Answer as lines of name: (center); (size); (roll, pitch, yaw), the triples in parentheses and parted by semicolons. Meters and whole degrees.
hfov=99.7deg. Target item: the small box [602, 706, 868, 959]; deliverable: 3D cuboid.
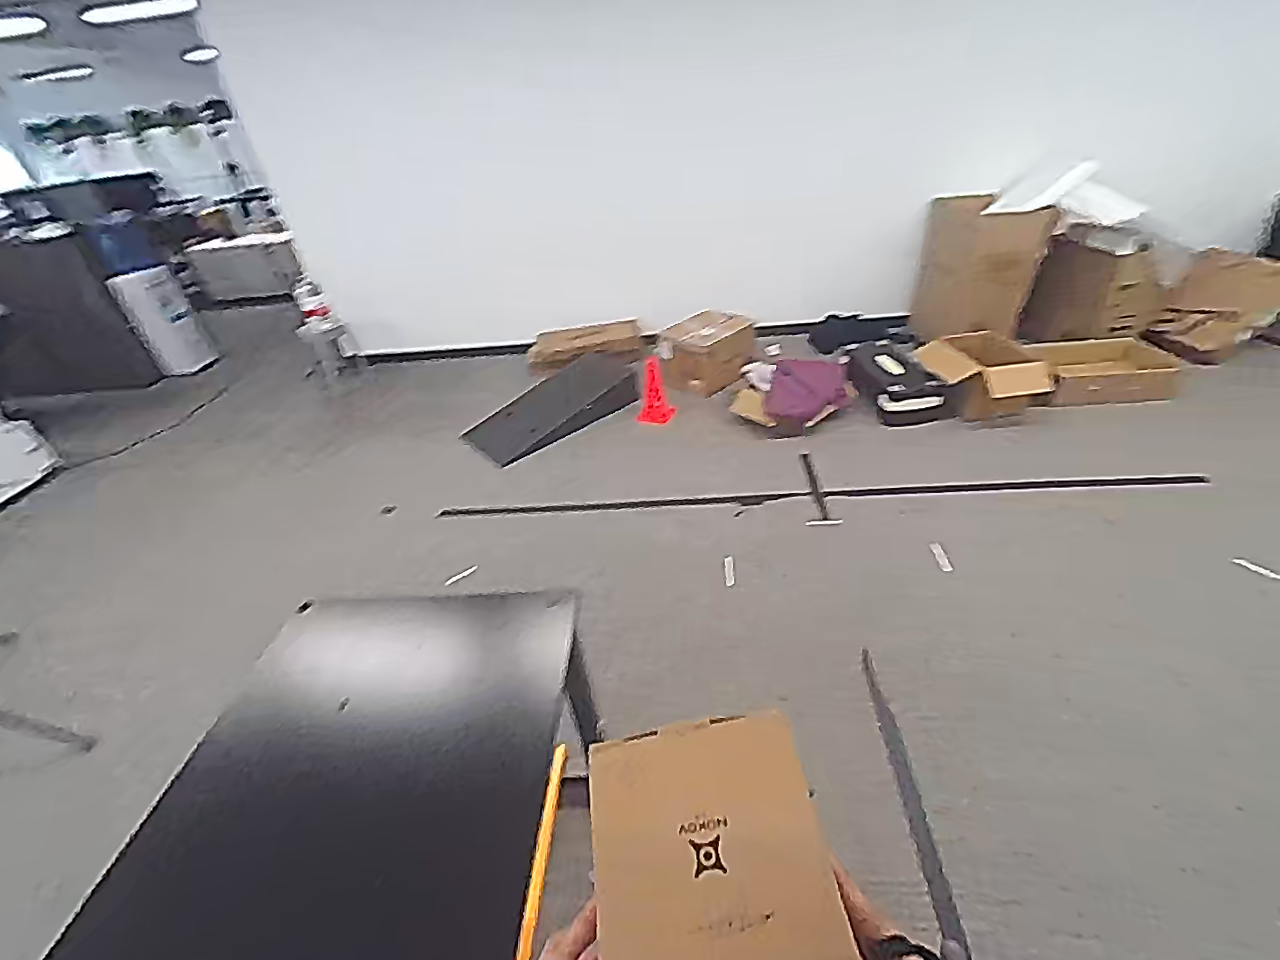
small box: (0.068, 0.317, 0.445); (0.168, 0.176, 0.179); (-11, 44, 3)
